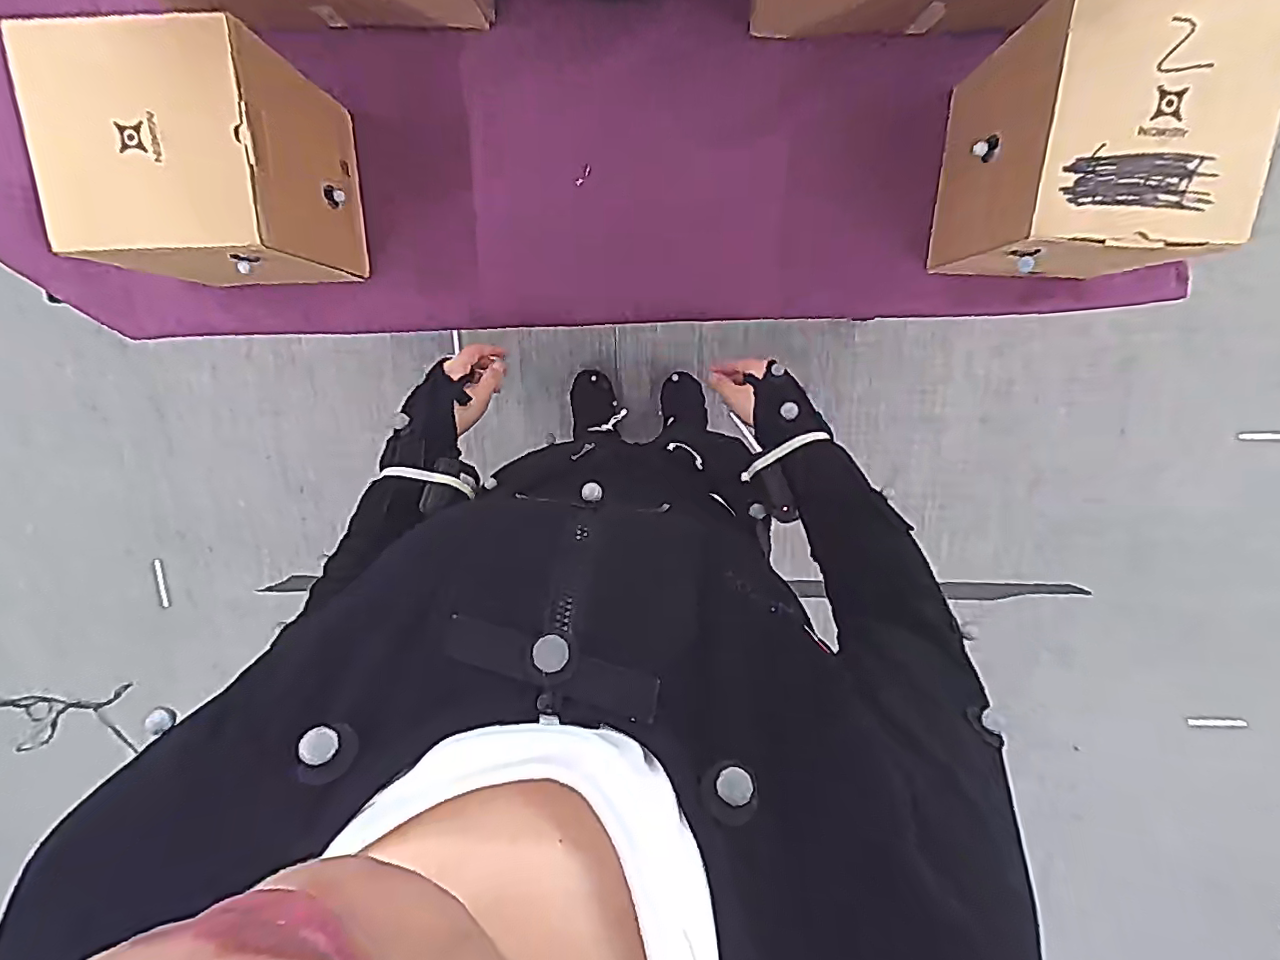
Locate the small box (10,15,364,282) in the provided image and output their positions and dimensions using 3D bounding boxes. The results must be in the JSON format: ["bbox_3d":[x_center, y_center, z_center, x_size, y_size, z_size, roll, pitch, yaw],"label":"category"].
[{"bbox_3d":[-0.392,-0.285,0.504,0.179,0.176,0.168,-2,102,1],"label":"small box"}]

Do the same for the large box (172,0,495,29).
[{"bbox_3d":[-0.297,-0.613,0.356,0.320,0.320,0.408,1,105,2],"label":"large box"}]
